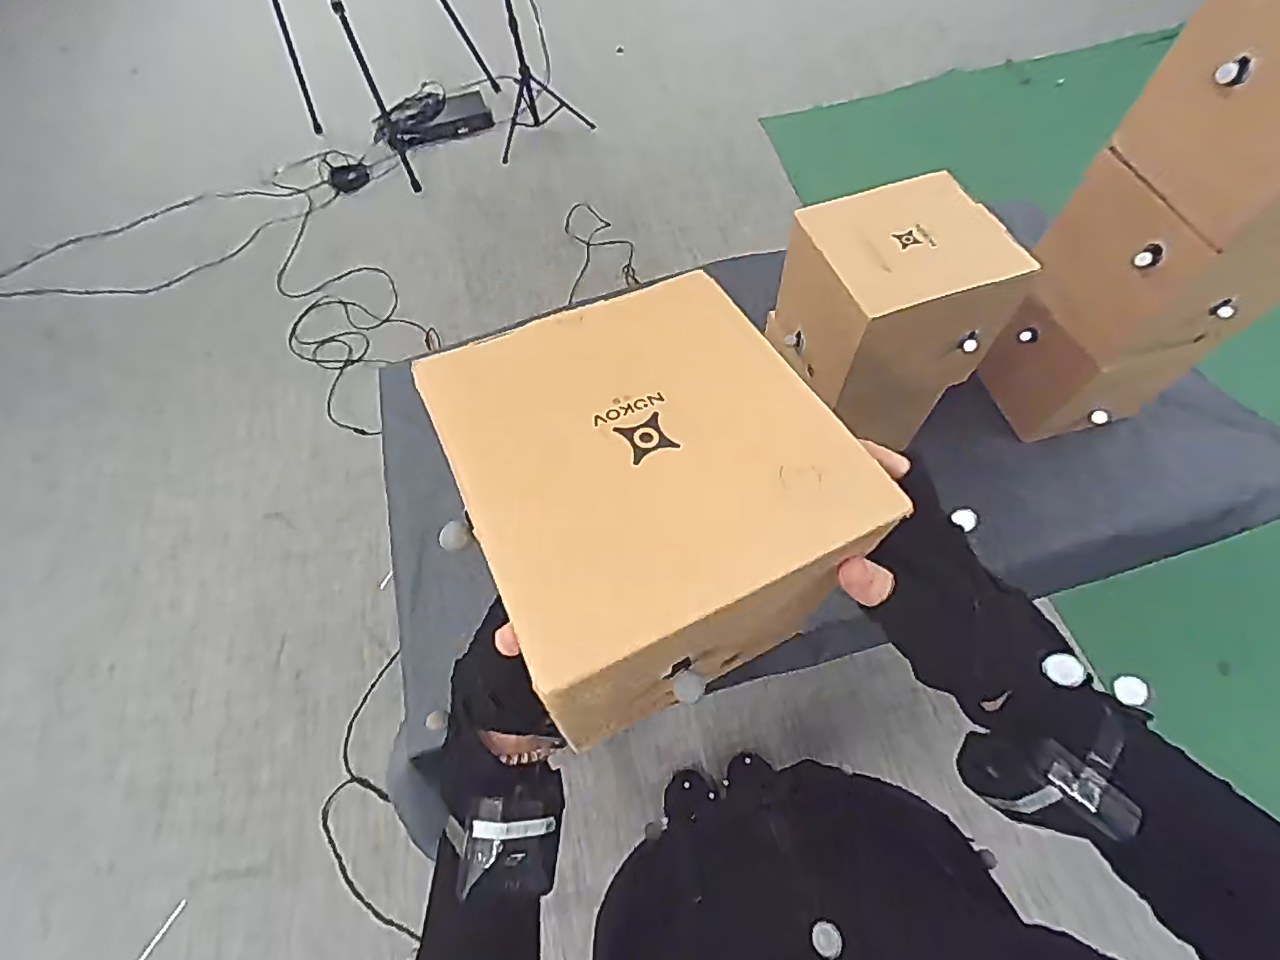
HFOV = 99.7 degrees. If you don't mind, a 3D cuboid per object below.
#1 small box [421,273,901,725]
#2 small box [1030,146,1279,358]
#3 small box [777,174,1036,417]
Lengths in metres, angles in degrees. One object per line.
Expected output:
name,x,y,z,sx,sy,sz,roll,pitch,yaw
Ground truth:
small box,0.001,0.020,0.313,0.168,0.176,0.179,-23,58,-15
small box,0.588,-0.256,0.603,0.168,0.176,0.179,-13,62,-1
small box,0.272,-0.198,0.604,0.179,0.176,0.168,-17,61,-3
